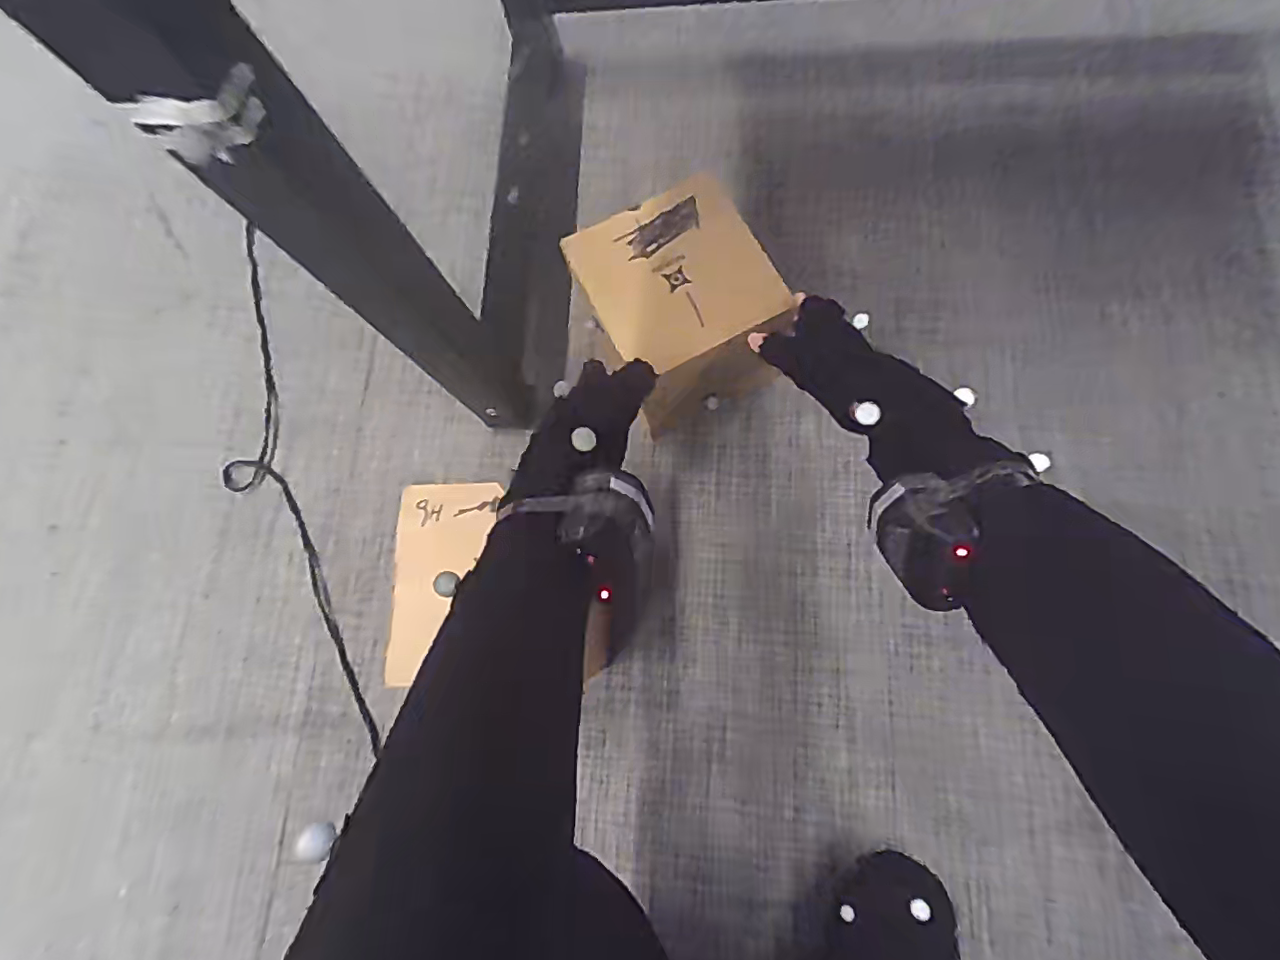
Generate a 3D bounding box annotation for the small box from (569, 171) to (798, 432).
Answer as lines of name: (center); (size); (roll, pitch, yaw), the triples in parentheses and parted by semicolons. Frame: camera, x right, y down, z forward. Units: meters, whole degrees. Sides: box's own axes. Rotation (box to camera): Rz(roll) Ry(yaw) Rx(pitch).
small box: (0.043, -0.180, 0.590); (0.168, 0.176, 0.179); (-26, 76, -1)
